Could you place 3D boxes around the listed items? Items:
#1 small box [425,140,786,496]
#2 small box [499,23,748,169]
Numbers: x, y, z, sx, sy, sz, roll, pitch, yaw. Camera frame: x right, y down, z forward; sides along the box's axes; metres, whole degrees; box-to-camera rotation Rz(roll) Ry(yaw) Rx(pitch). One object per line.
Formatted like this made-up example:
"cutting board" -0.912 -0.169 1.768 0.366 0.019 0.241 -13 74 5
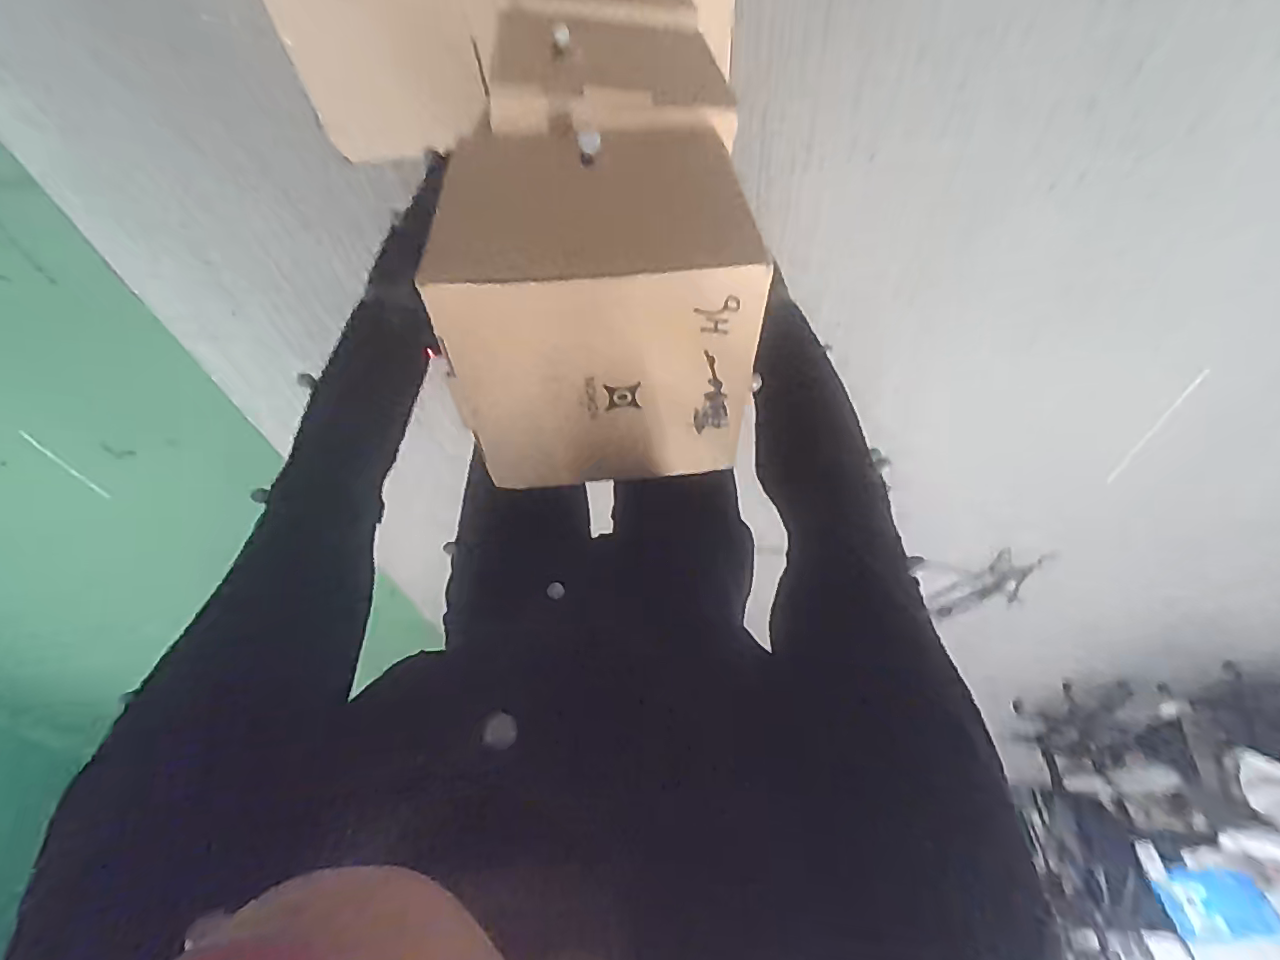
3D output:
"small box" -0.021 -0.108 0.368 0.179 0.176 0.168 -4 144 -2
"small box" -0.026 -0.247 0.454 0.168 0.176 0.179 0 144 -8
